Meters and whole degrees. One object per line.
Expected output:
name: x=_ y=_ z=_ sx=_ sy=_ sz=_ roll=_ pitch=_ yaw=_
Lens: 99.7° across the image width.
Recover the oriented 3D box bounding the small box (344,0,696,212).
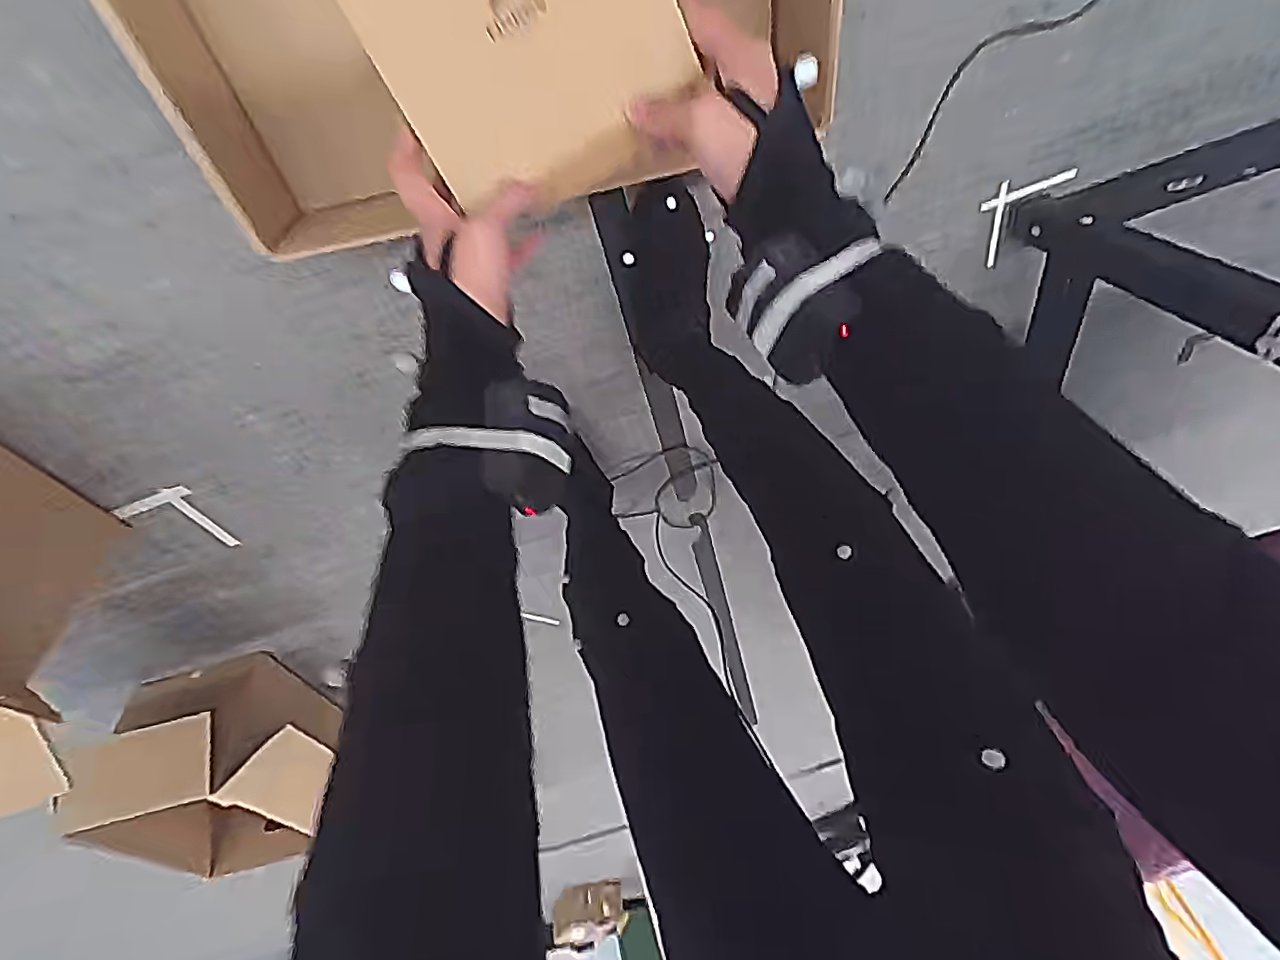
small box: x=-0.081 y=-0.305 z=0.364 sx=0.168 sy=0.176 sz=0.179 roll=-27 pitch=113 yaw=7
